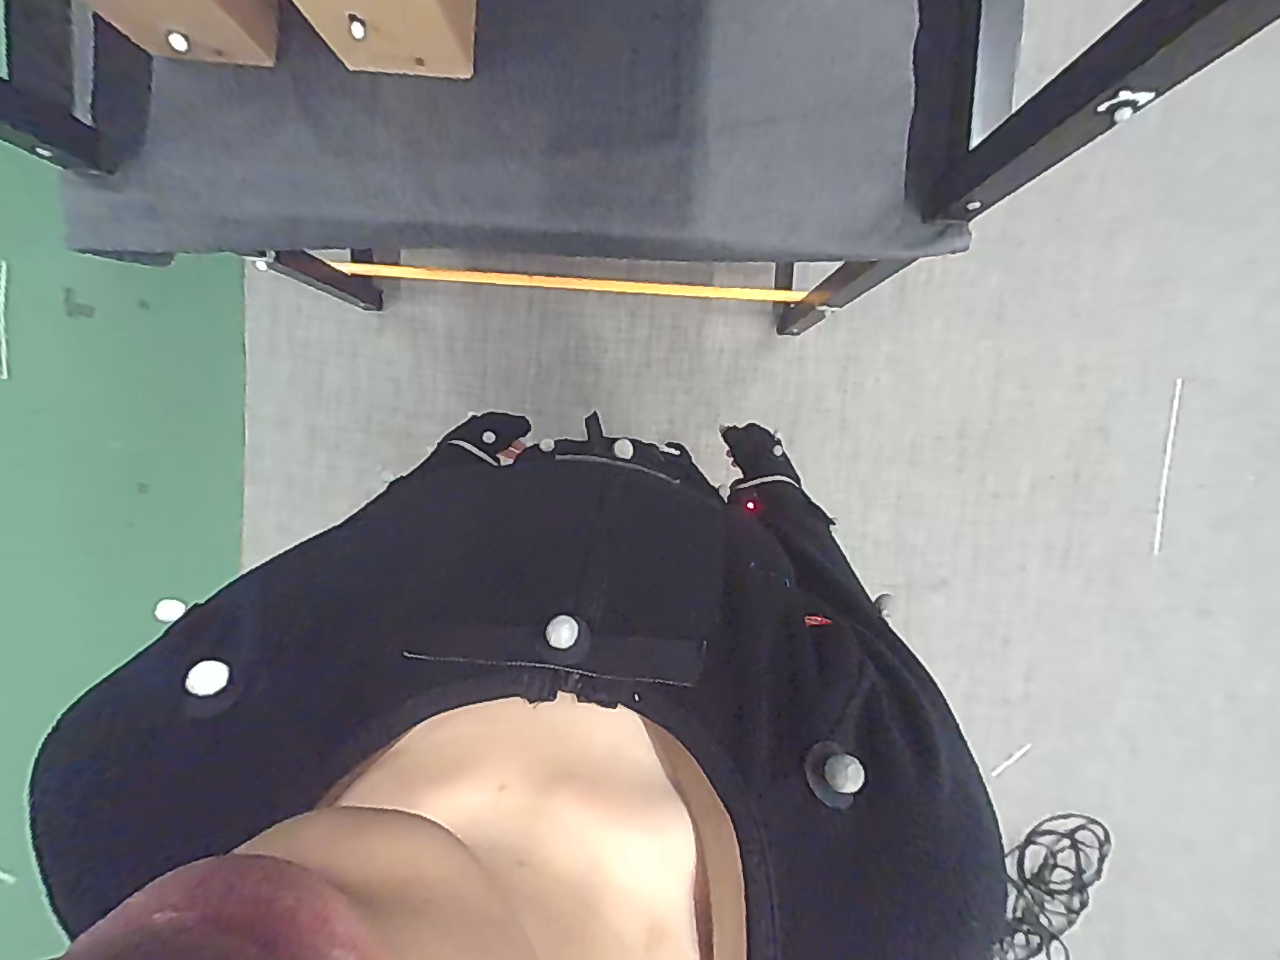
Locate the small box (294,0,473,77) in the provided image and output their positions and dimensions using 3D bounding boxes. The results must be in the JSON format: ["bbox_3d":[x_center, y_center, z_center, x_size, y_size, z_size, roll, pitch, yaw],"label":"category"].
[{"bbox_3d":[-0.298,-0.610,0.625,0.168,0.176,0.179,4,95,0],"label":"small box"}]

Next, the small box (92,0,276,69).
[{"bbox_3d":[-0.551,-0.626,0.621,0.168,0.176,0.179,5,96,0],"label":"small box"}]
